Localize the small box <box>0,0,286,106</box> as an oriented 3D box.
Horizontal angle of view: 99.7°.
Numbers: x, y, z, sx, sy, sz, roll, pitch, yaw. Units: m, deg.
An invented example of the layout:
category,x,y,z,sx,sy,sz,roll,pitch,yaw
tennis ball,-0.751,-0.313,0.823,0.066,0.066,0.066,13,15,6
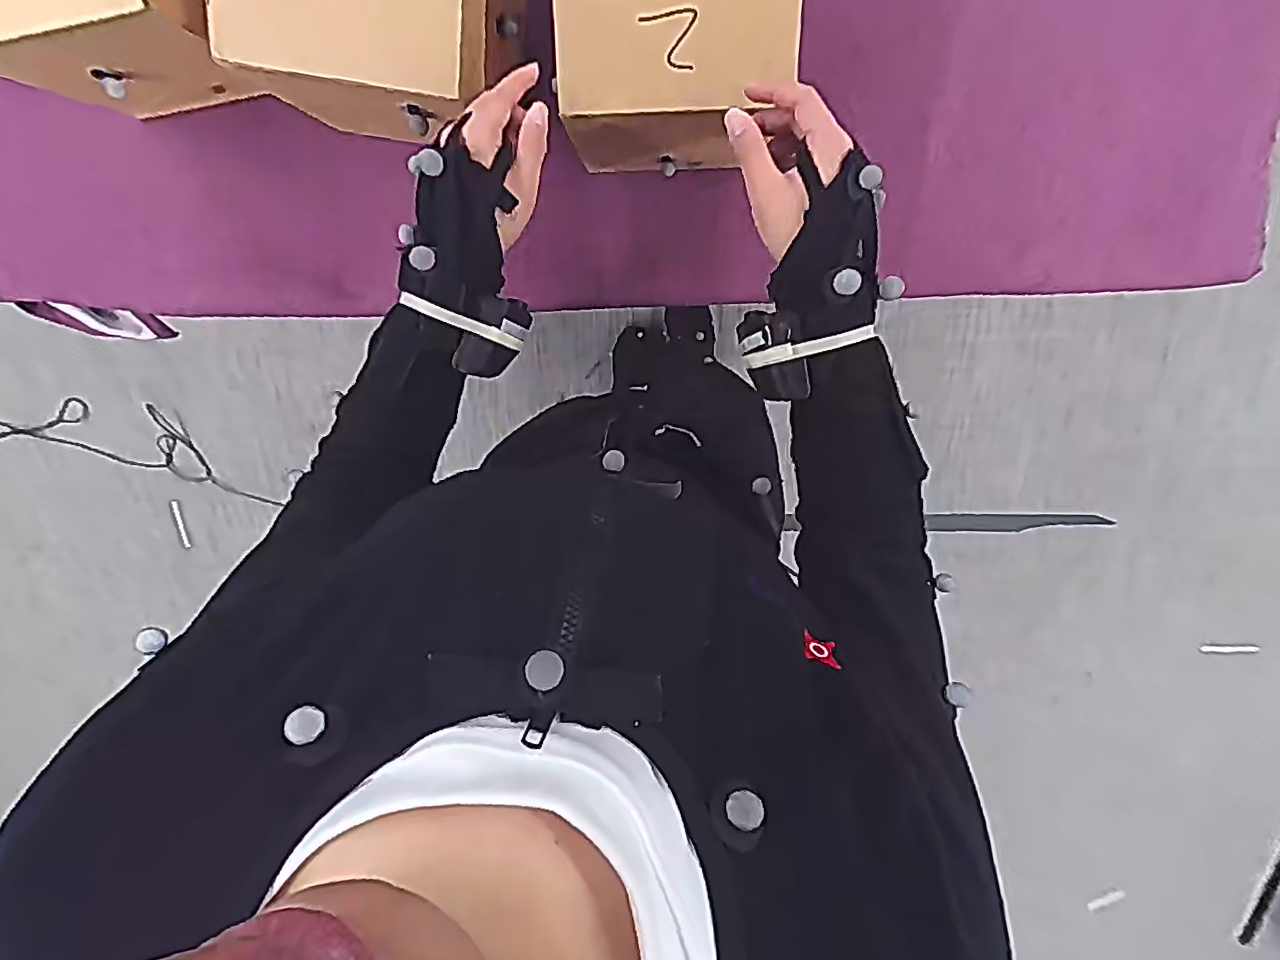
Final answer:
category,x,y,z,sx,sy,sz,roll,pitch,yaw
small box,-0.425,-0.421,0.422,0.168,0.176,0.179,-9,109,5
